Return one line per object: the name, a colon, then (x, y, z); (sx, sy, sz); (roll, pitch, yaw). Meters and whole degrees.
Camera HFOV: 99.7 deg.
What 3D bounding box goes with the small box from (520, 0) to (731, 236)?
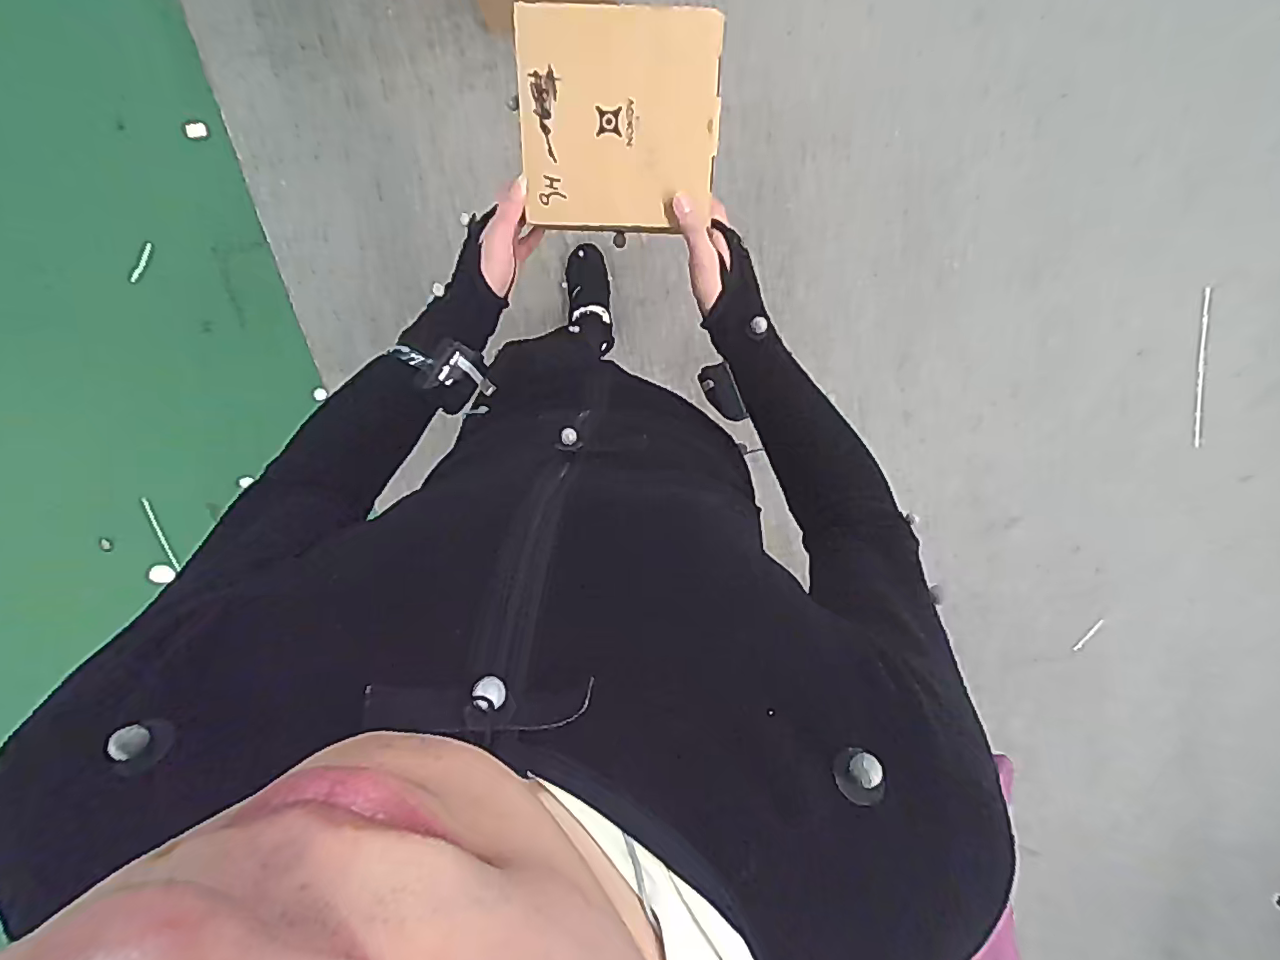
small box: (-0.018, -0.341, 0.542); (0.179, 0.176, 0.168); (0, 112, -3)
